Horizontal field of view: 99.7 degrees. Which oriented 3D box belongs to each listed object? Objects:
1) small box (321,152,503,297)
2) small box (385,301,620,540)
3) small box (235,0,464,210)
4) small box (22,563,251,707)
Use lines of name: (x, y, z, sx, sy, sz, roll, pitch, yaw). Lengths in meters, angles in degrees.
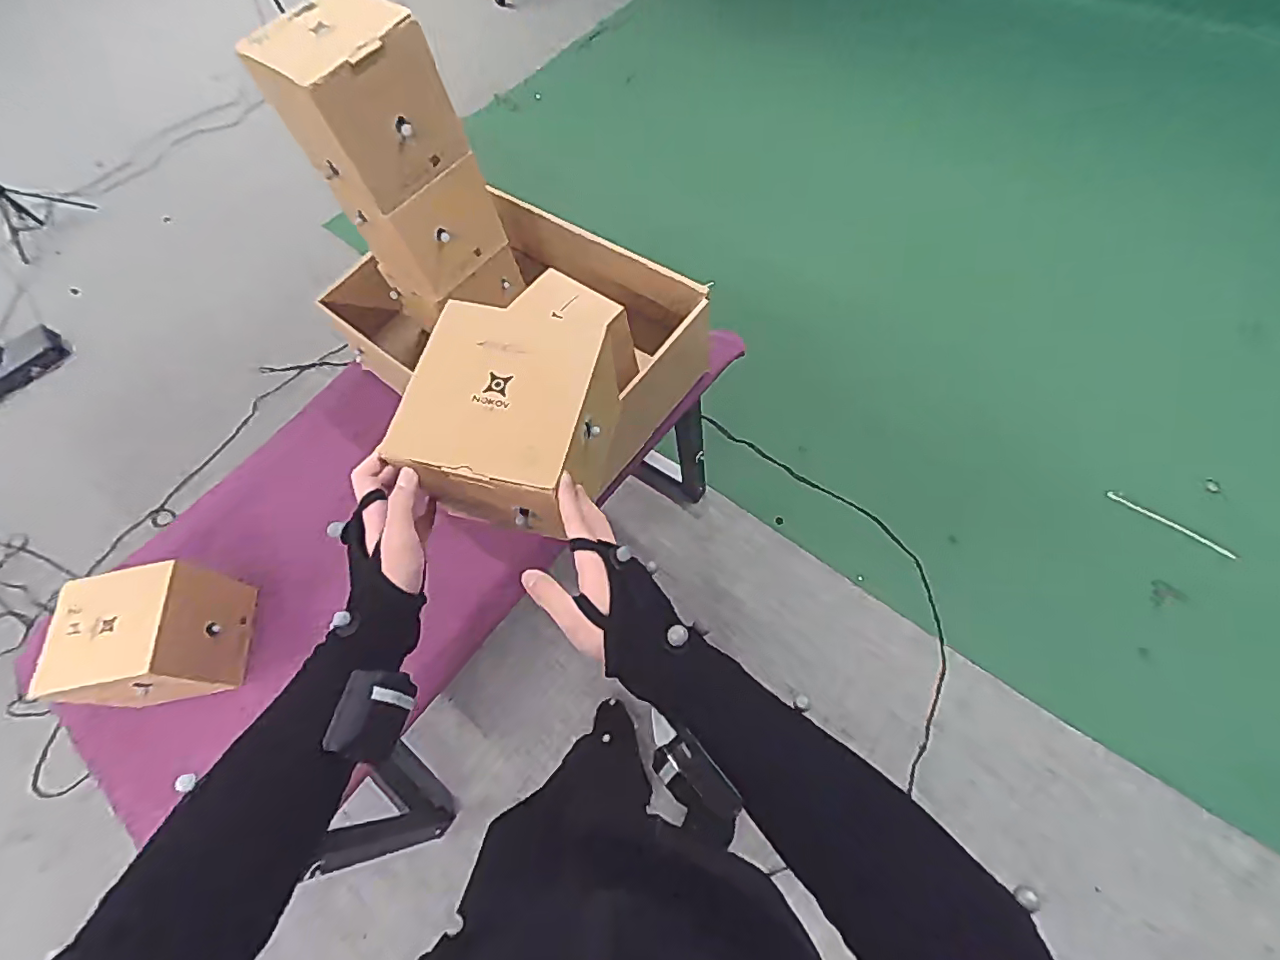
small box: (-0.351, -0.427, 0.869, 0.179, 0.176, 0.168, 36, 74, 21)
small box: (-0.122, -0.052, 0.568, 0.168, 0.176, 0.179, 14, 69, 7)
small box: (-0.371, -0.499, 0.723, 0.179, 0.176, 0.168, 36, 74, 20)
small box: (-0.744, 0.243, 0.827, 0.179, 0.176, 0.168, -11, 62, 1)
